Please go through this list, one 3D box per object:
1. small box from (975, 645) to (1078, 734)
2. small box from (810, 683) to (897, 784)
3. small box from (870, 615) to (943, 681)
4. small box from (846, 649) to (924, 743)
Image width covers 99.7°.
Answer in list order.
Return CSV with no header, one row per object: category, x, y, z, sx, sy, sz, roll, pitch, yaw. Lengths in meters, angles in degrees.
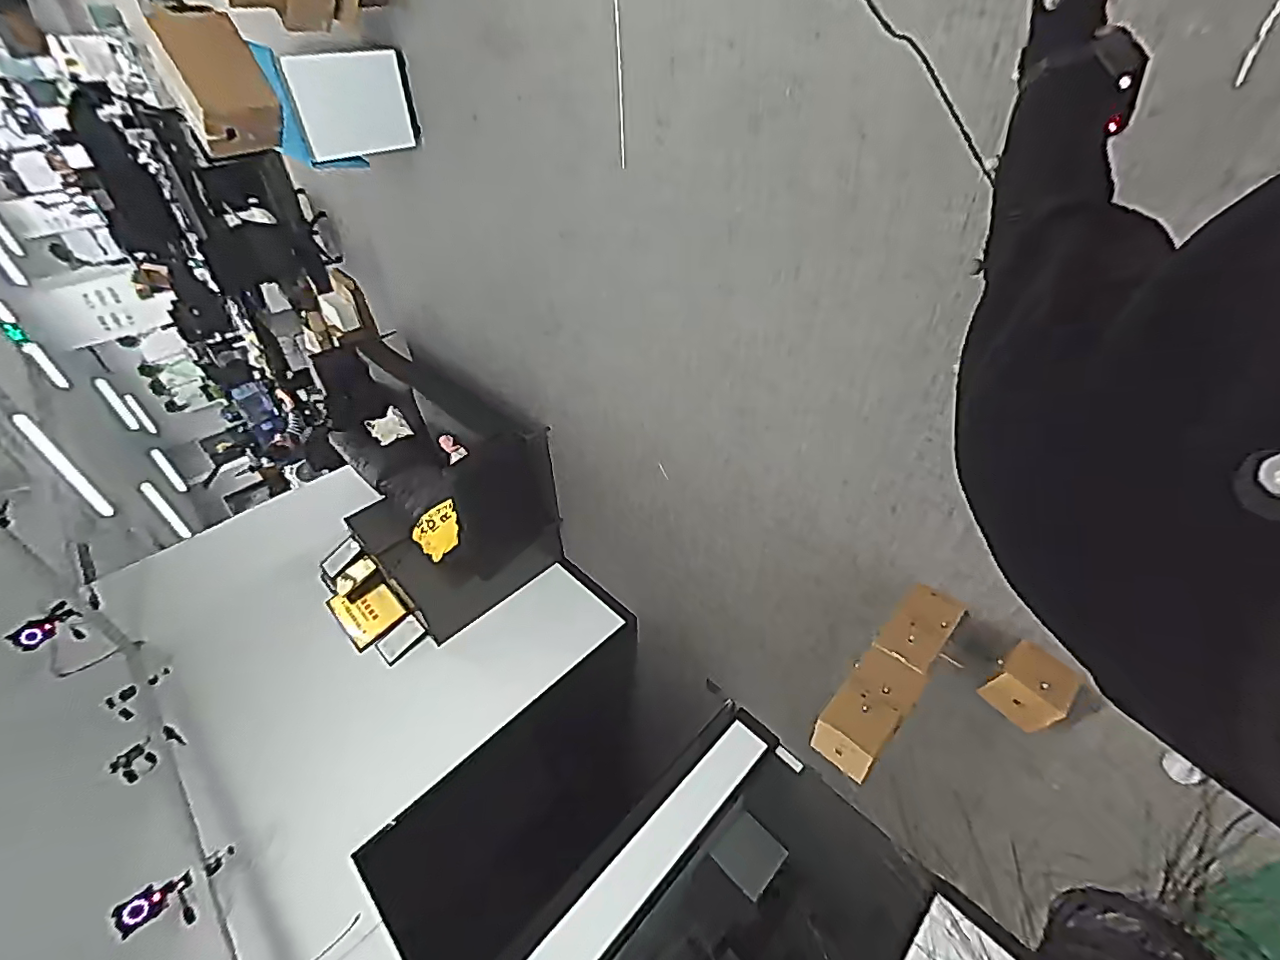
small box,1.192,0.637,1.668,0.179,0.176,0.168,40,144,23
small box,0.625,0.738,1.585,0.168,0.176,0.179,31,140,35
small box,0.855,0.575,1.756,0.168,0.176,0.179,32,141,35
small box,0.744,0.661,1.670,0.179,0.176,0.168,33,142,34
